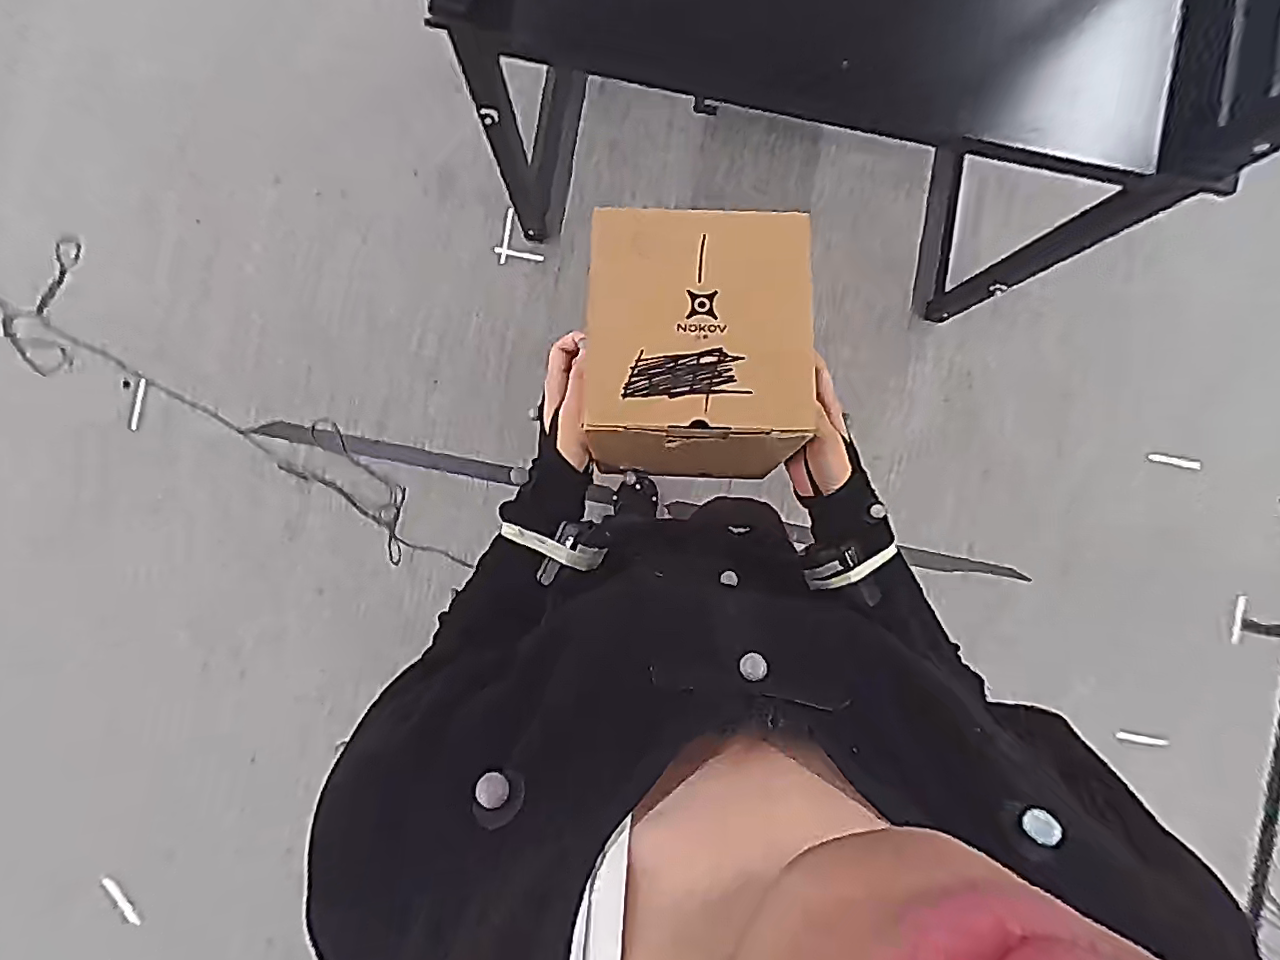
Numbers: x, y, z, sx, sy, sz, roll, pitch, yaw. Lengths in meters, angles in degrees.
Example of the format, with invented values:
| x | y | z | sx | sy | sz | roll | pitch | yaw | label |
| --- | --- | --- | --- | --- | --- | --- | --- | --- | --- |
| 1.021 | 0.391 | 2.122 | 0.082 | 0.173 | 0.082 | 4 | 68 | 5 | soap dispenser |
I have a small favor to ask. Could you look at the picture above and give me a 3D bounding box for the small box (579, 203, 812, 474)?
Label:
| x | y | z | sx | sy | sz | roll | pitch | yaw | label |
| --- | --- | --- | --- | --- | --- | --- | --- | --- | --- |
| 0.043 | -0.106 | 0.469 | 0.168 | 0.176 | 0.179 | 2 | 78 | 0 | small box |
